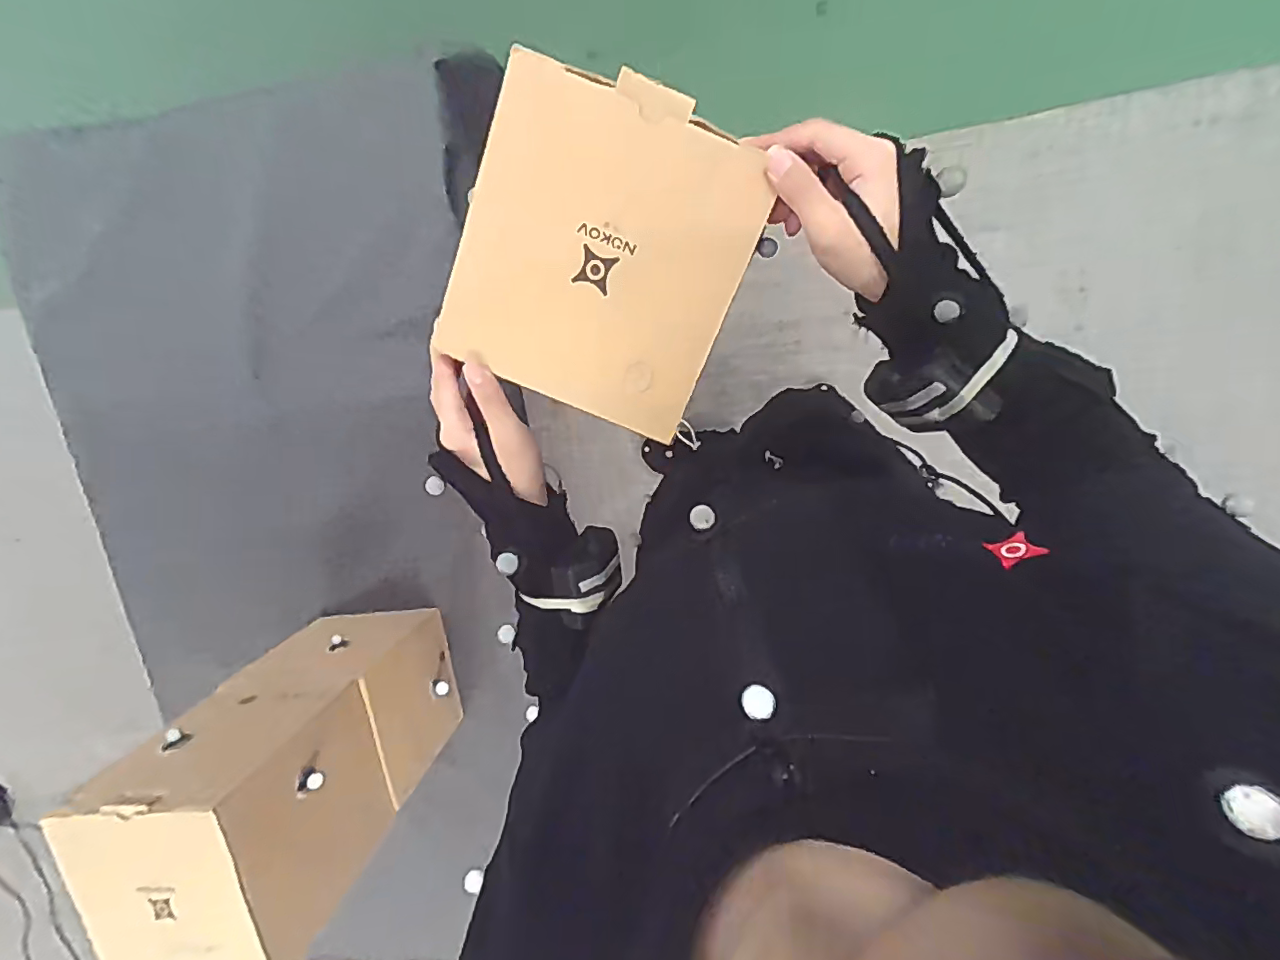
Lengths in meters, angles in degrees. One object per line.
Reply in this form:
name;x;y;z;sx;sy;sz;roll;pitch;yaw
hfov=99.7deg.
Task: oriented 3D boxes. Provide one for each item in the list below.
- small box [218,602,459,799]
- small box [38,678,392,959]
small box;-0.349;0.261;0.659;0.179;0.176;0.168;-6;102;8
small box;-0.366;0.302;0.503;0.168;0.176;0.179;-8;103;10
